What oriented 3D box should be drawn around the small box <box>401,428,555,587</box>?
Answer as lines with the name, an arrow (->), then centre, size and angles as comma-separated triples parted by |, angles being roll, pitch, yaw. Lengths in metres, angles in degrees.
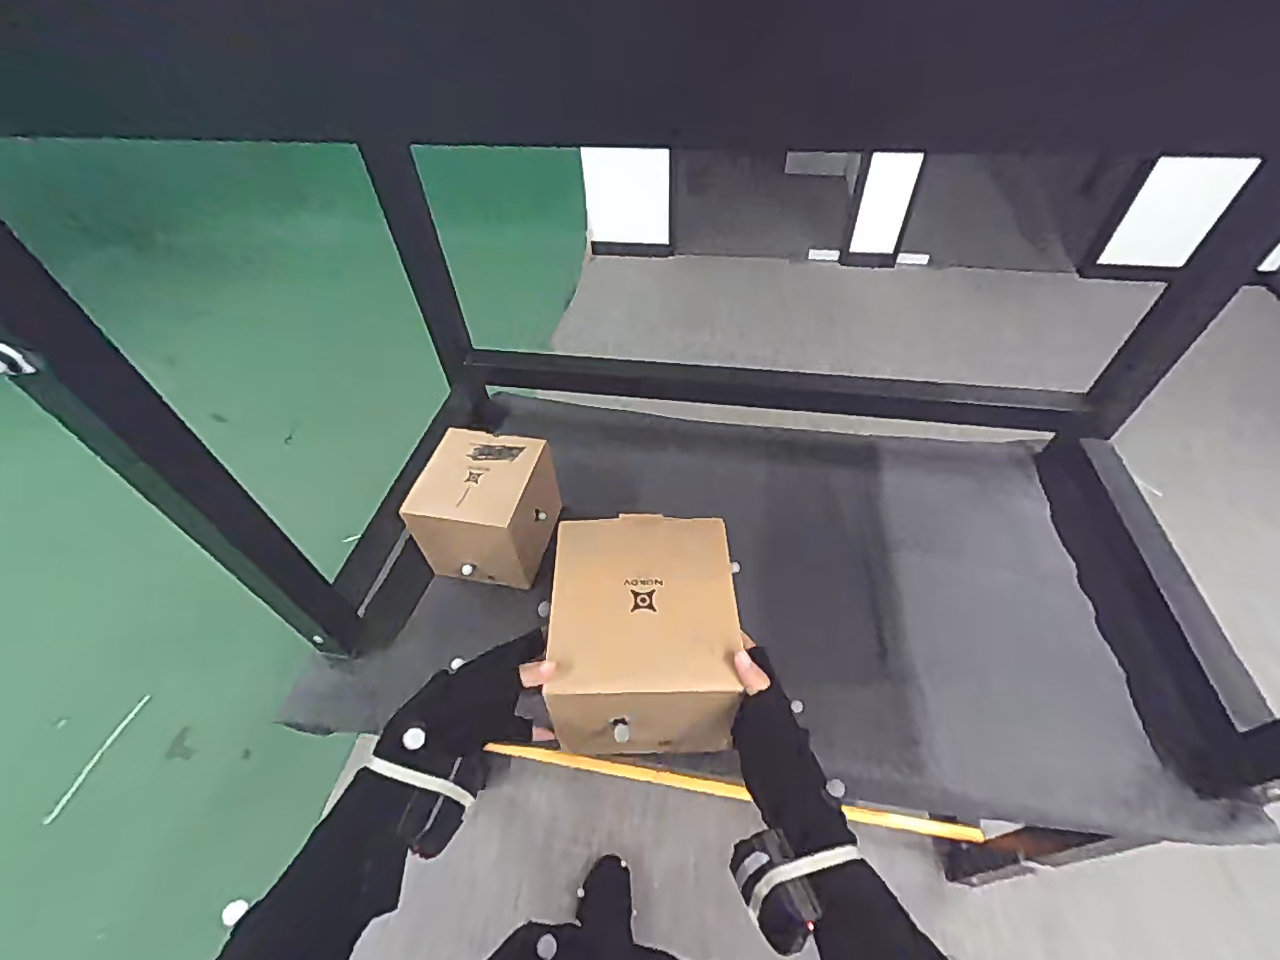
small box -> -0.241, 0.044, 0.860 | 0.168, 0.176, 0.179 | 7, 50, 9

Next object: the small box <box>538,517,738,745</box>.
small box -> -0.002, 0.156, 0.547 | 0.168, 0.176, 0.179 | 0, 47, -1
